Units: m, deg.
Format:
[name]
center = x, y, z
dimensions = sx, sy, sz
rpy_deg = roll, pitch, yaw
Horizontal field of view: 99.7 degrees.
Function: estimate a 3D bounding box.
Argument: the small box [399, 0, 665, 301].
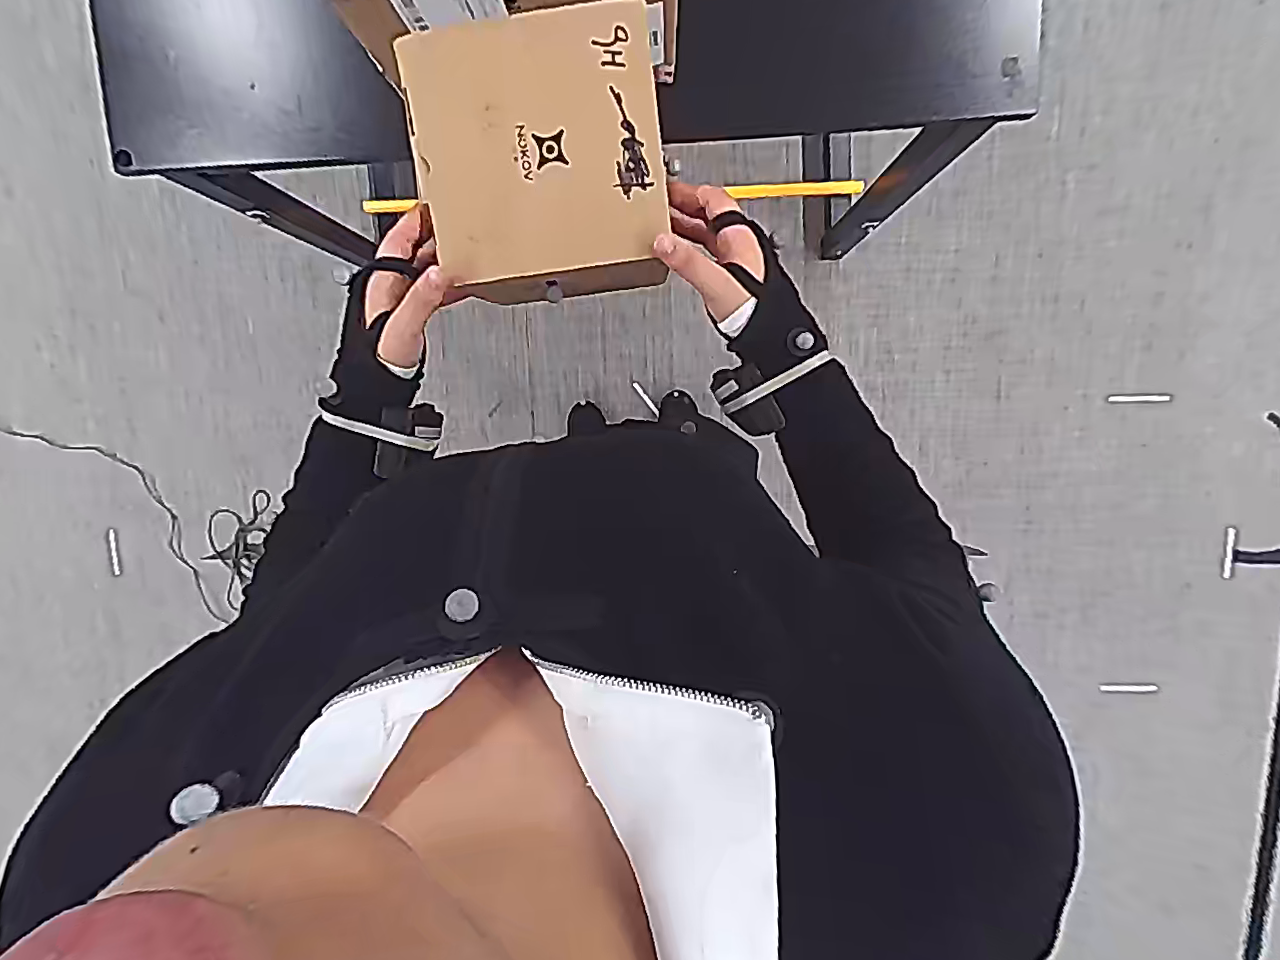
[small box]
center = -0.072, -0.256, 0.465
dimensions = 0.179, 0.176, 0.168
rpy_deg = -6, 102, 2
